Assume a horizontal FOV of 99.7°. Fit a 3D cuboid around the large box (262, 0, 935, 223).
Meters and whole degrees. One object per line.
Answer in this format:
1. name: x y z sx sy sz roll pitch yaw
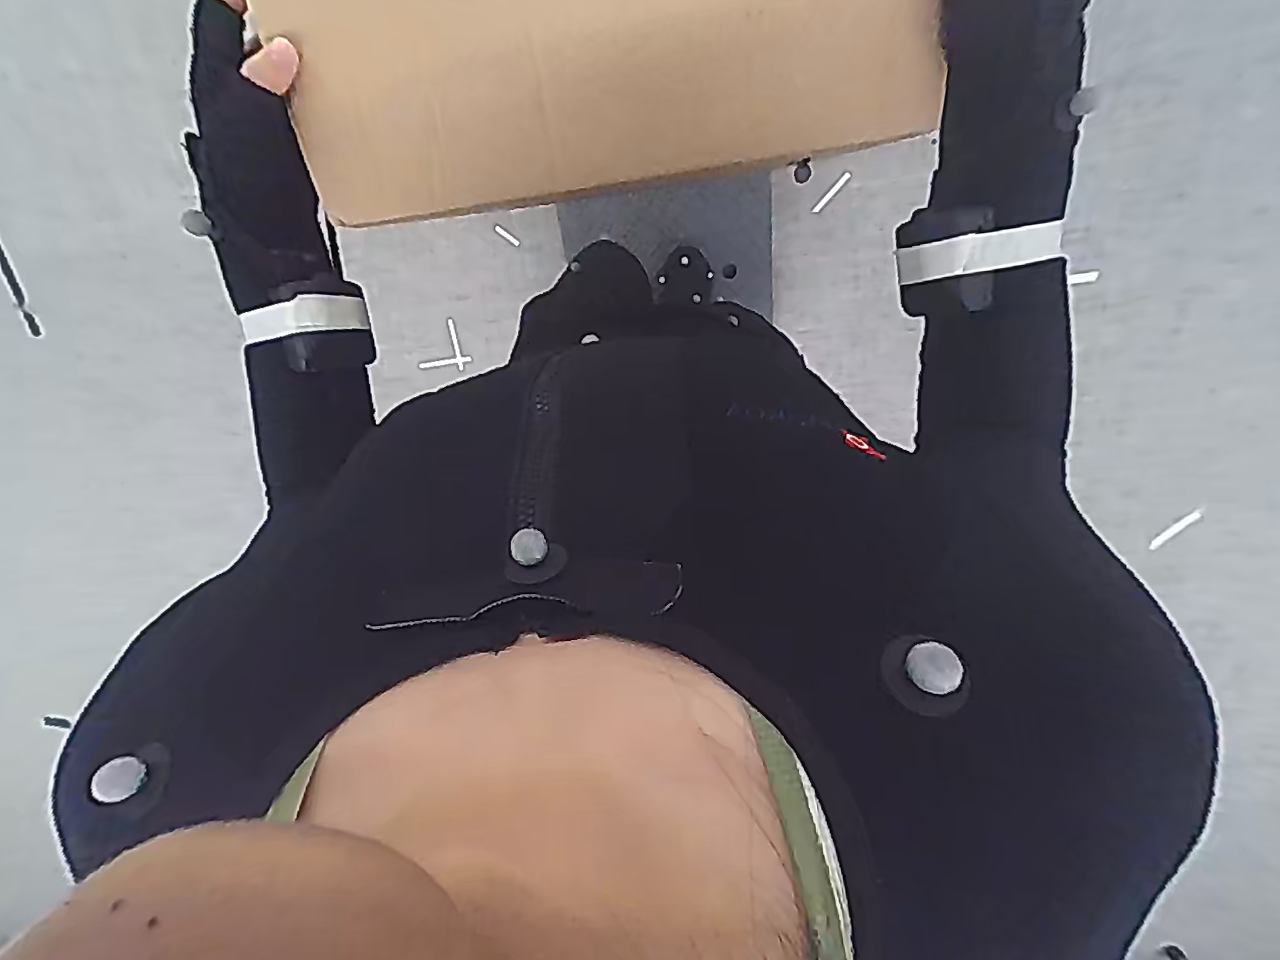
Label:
1. large box: -0.029 -0.410 0.423 0.408 0.320 0.320 -6 117 6
